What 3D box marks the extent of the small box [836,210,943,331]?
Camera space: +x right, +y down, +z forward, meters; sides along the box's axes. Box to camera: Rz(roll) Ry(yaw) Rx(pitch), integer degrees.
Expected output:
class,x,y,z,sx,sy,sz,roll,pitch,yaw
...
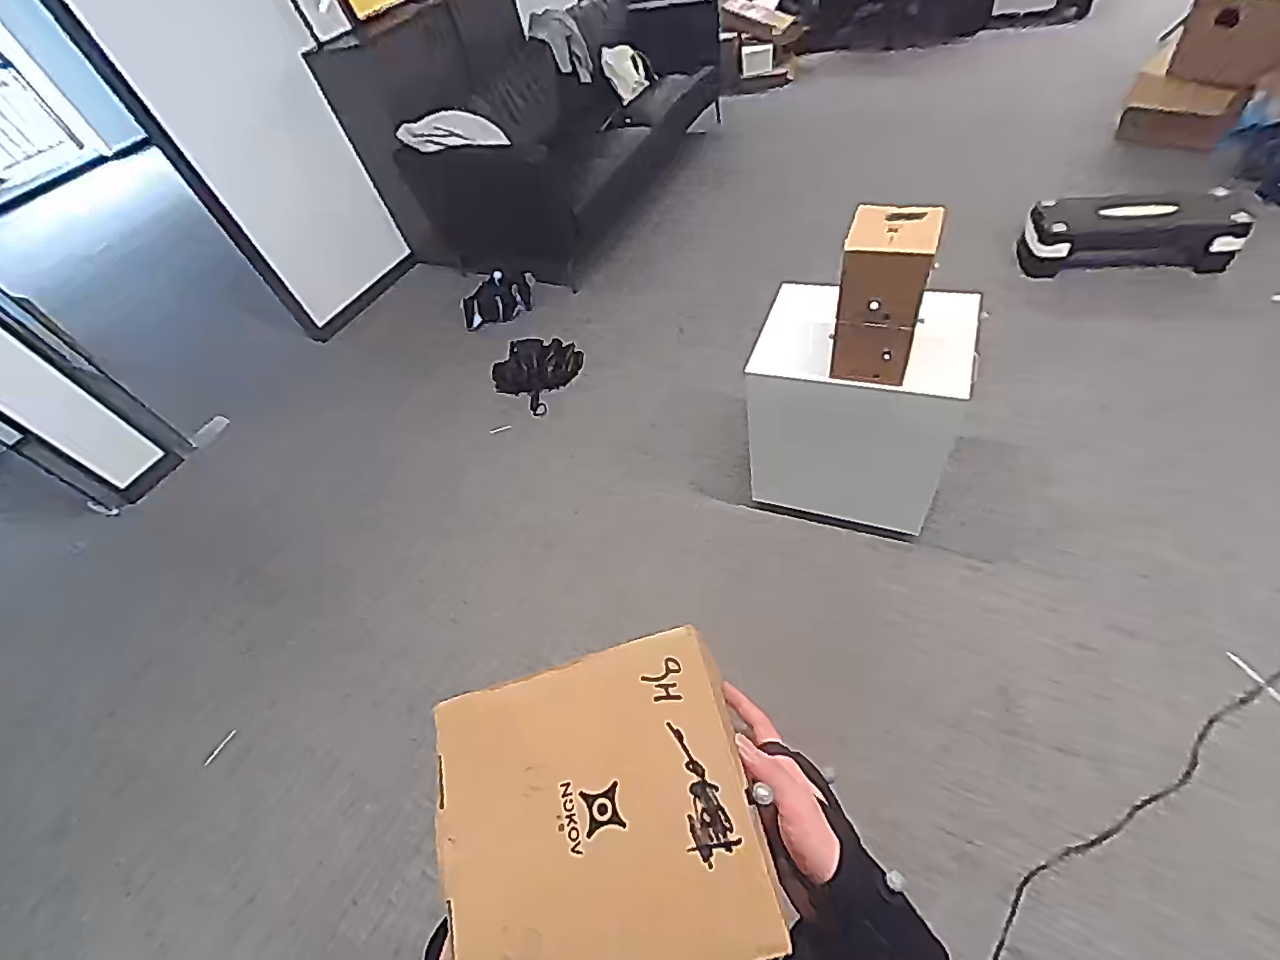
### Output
class,x,y,z,sx,sy,sz,roll,pitch,yaw
small box,0.521,-0.443,1.143,0.168,0.176,0.179,13,56,22

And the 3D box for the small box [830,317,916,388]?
class,x,y,z,sx,sy,sz,roll,pitch,yaw
small box,0.549,-0.338,1.267,0.168,0.176,0.179,13,54,21

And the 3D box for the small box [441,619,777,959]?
class,x,y,z,sx,sy,sz,roll,pitch,yaw
small box,-0.013,0.215,0.380,0.179,0.176,0.168,-18,63,4
